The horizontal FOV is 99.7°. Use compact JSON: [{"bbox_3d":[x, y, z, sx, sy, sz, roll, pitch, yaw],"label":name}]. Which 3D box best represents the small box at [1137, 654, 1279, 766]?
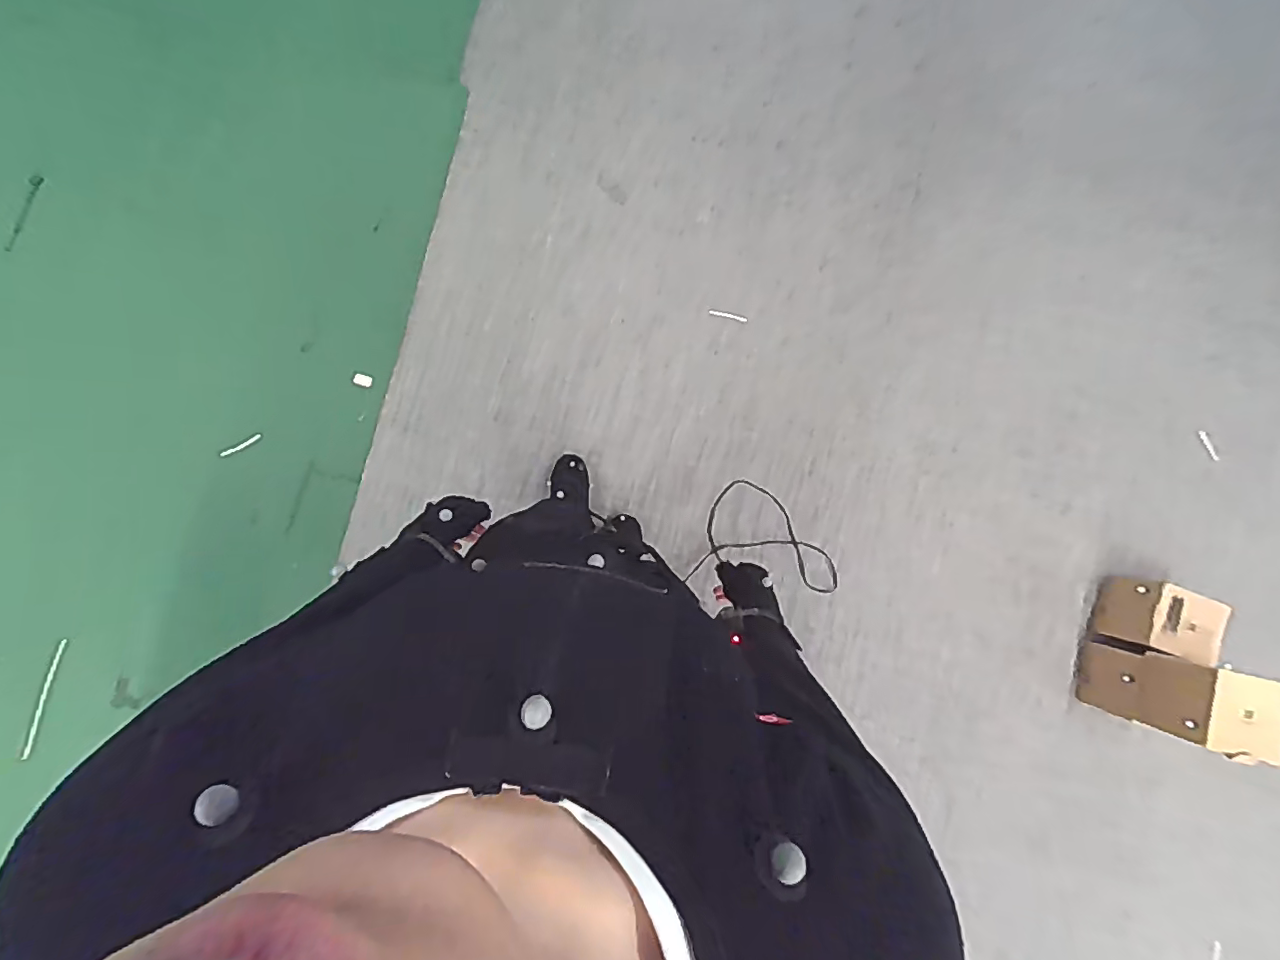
[{"bbox_3d":[1.296,0.513,1.235,0.168,0.176,0.179,13,86,0],"label":"small box"}]
